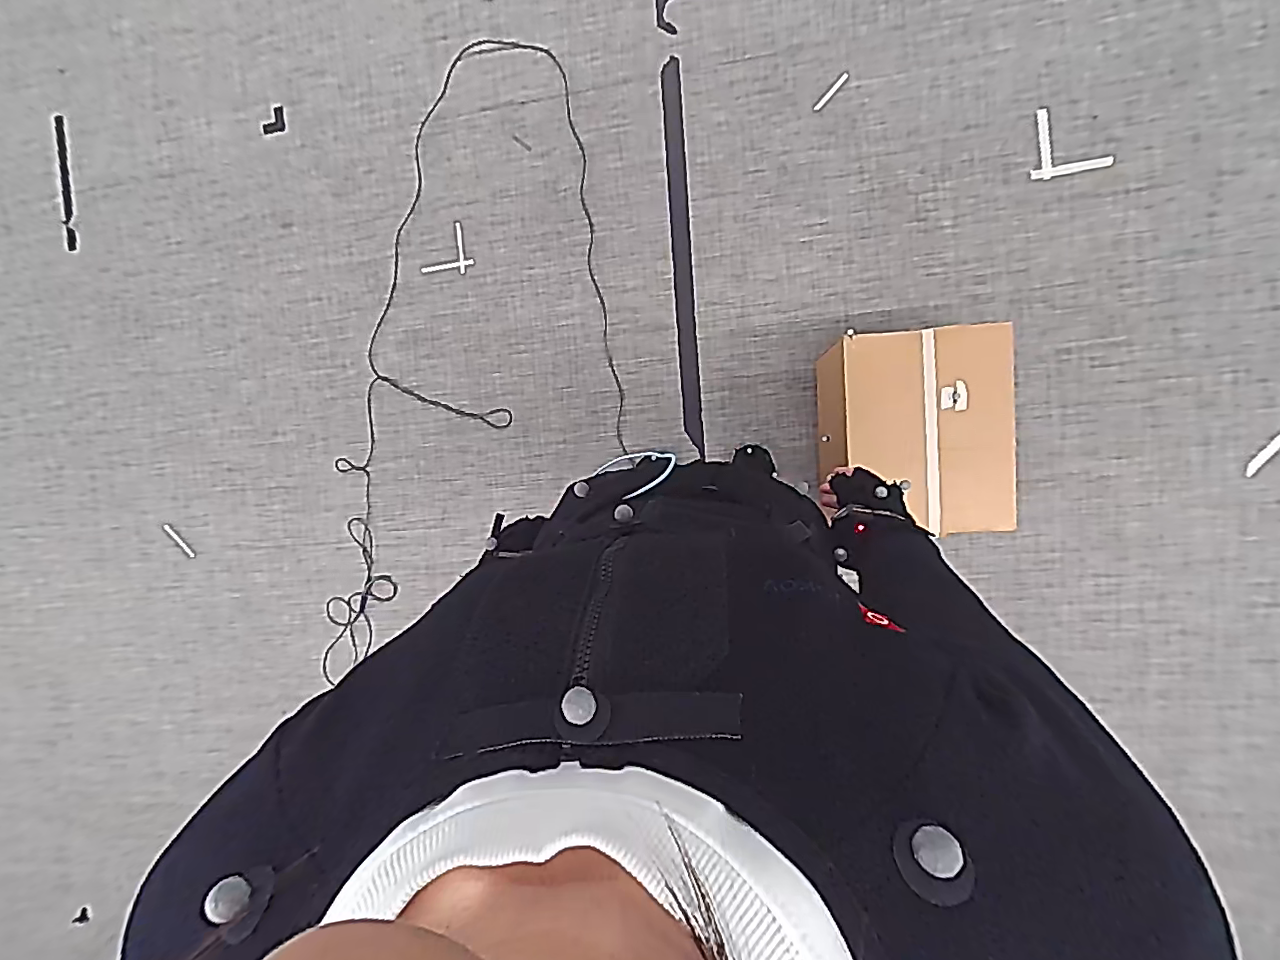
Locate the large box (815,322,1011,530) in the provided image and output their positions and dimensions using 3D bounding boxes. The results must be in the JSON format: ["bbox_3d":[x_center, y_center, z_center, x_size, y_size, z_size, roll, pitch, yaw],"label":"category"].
[{"bbox_3d":[0.590,-0.109,1.230,0.320,0.320,0.408,-3,92,7],"label":"large box"}]
